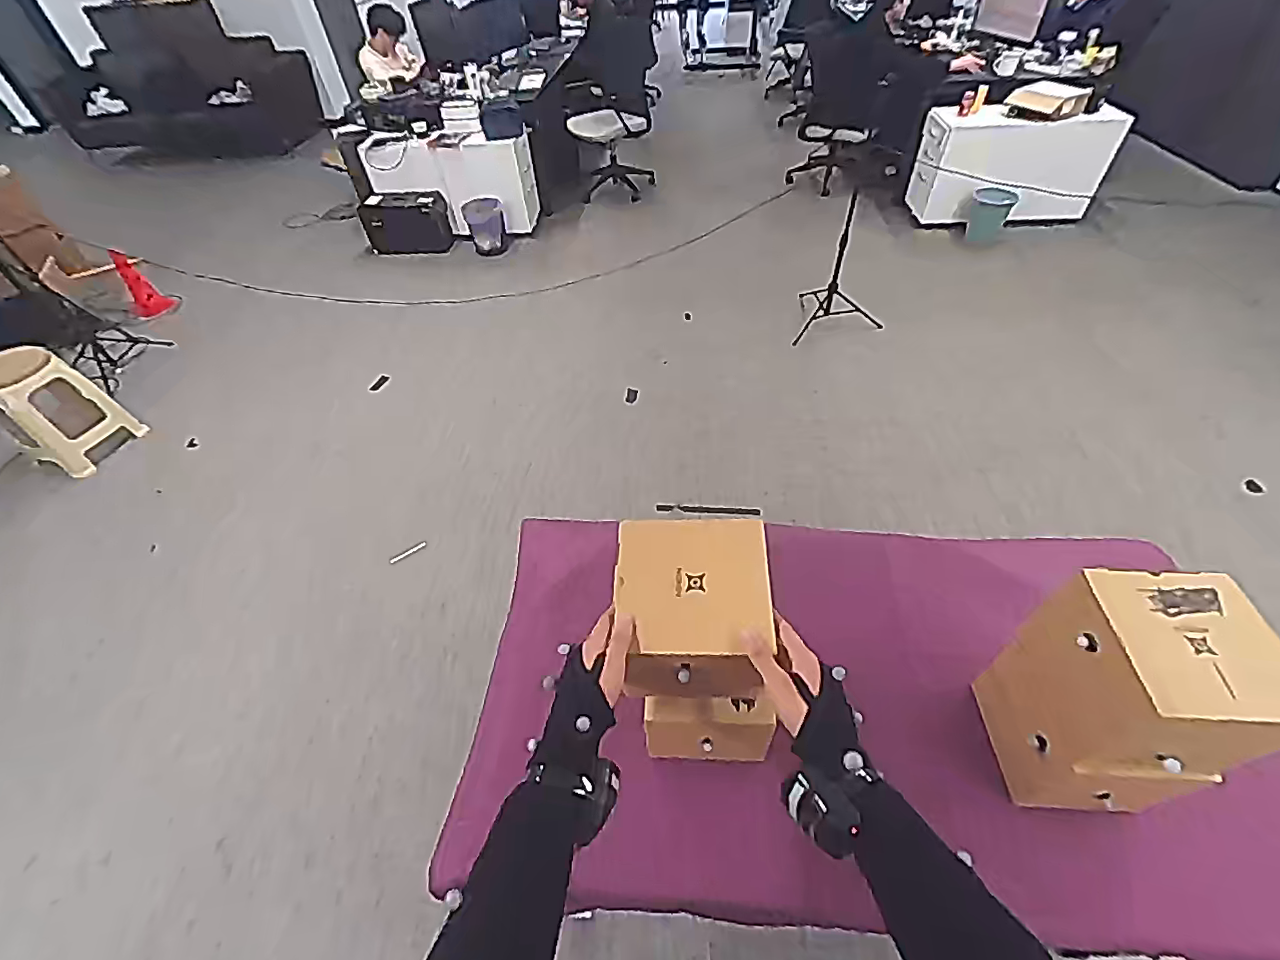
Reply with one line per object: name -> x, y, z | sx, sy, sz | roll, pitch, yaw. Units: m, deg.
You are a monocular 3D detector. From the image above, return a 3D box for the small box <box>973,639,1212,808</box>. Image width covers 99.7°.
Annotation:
small box -> 0.610, 0.346, 0.762 | 0.168, 0.176, 0.179 | 1, 48, 5

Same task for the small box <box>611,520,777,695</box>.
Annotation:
small box -> 0.066, 0.162, 0.674 | 0.179, 0.176, 0.168 | -1, 55, 6

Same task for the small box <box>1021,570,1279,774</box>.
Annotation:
small box -> 0.603, 0.229, 0.646 | 0.168, 0.176, 0.179 | 1, 48, 5
